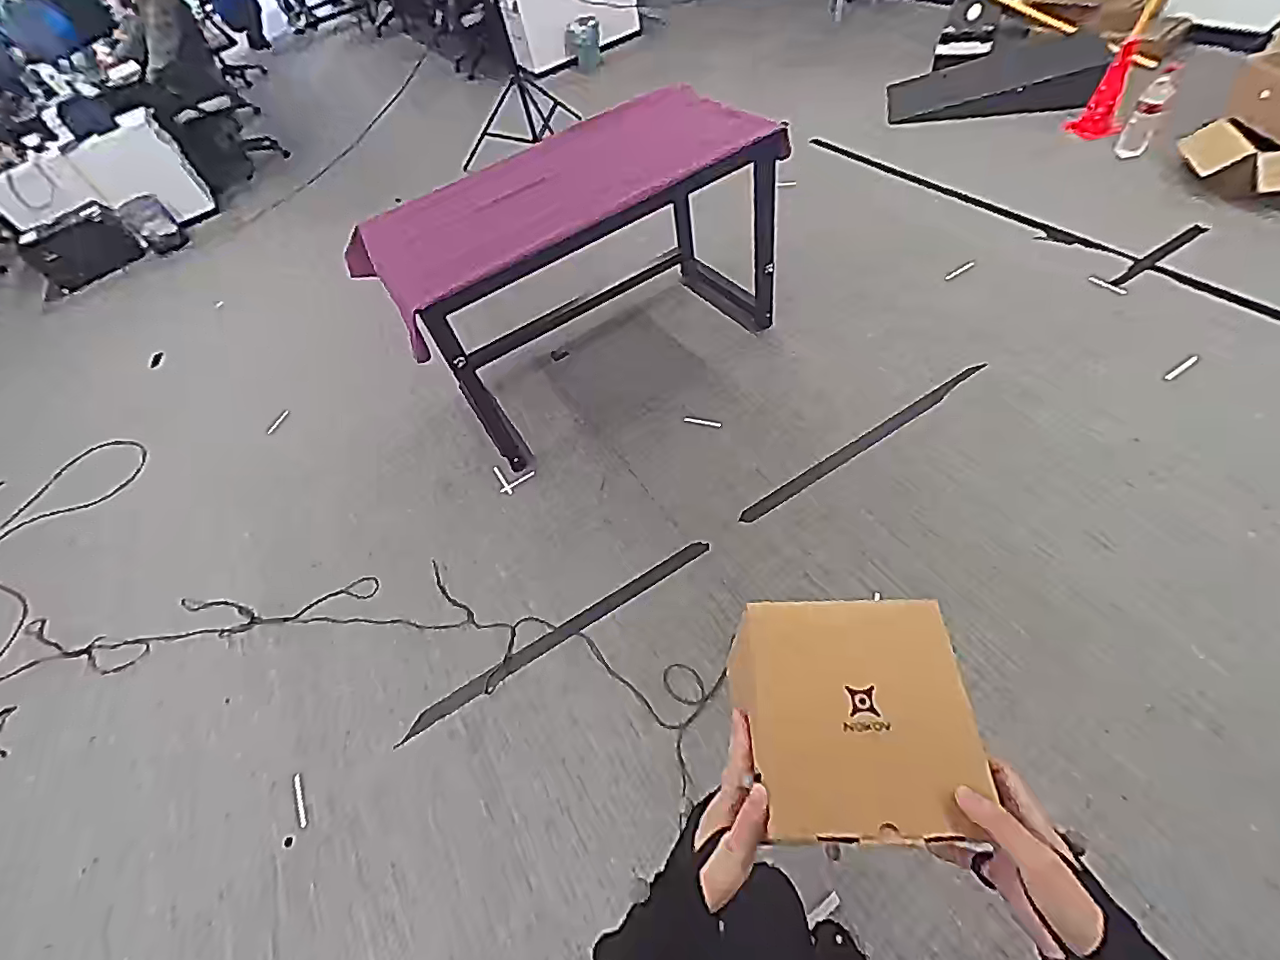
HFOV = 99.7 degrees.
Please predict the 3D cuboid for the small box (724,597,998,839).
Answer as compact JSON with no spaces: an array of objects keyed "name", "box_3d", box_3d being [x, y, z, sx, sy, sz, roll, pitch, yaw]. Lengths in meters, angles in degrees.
[{"name":"small box","box_3d":[0.172,0.220,0.491,0.168,0.176,0.179,-1,57,1]}]
